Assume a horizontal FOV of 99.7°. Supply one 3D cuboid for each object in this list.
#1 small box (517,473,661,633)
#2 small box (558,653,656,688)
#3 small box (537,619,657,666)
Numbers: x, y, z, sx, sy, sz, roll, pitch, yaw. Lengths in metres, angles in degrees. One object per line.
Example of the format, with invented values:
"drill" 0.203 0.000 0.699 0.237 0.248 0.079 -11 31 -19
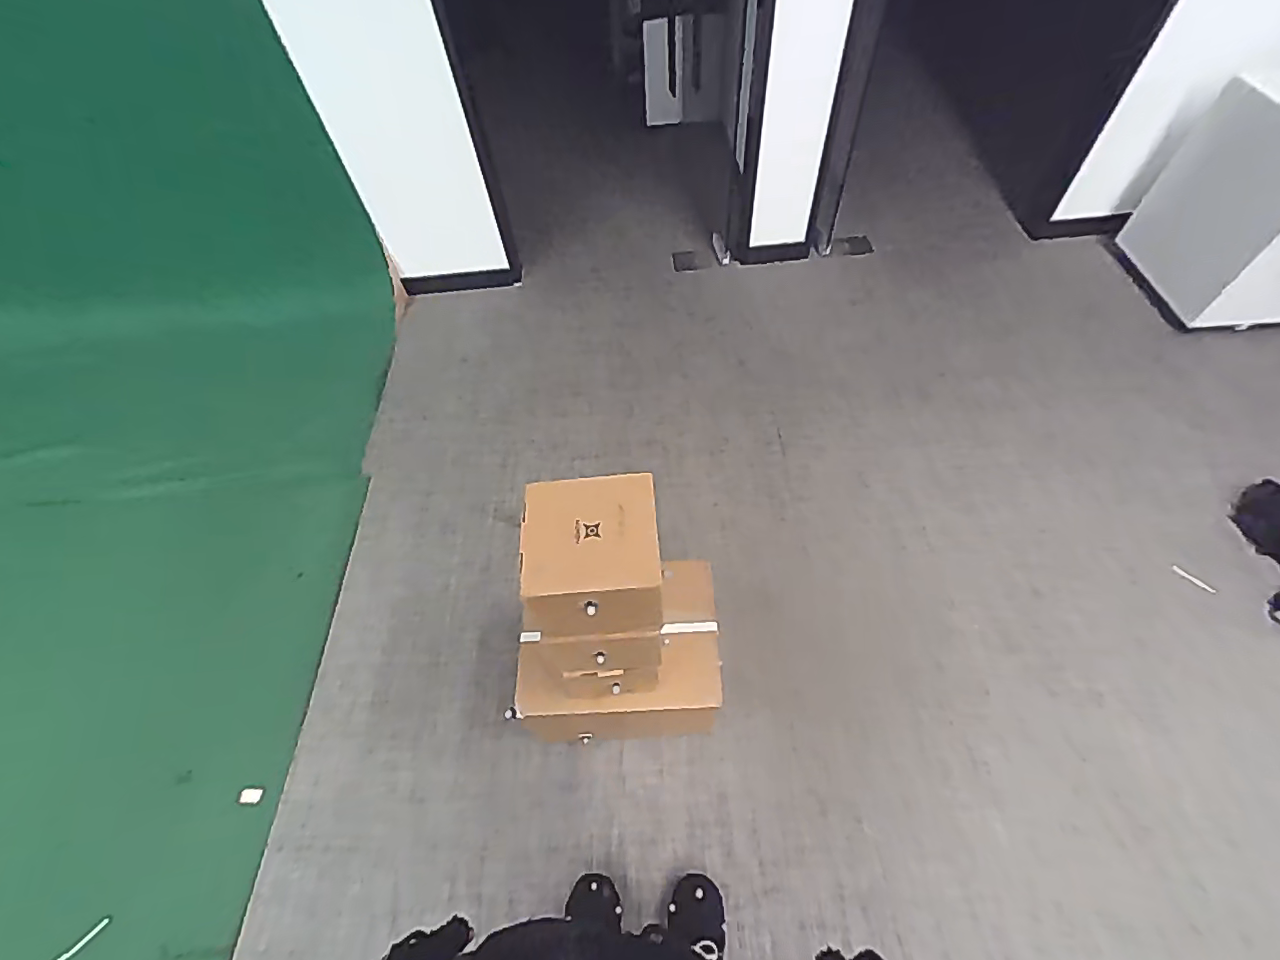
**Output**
"small box" -0.064 0.108 0.760 0.179 0.176 0.168 -5 58 -1
"small box" -0.060 0.290 1.031 0.168 0.176 0.179 -6 58 0
"small box" -0.062 0.202 0.892 0.179 0.176 0.168 -4 57 2
